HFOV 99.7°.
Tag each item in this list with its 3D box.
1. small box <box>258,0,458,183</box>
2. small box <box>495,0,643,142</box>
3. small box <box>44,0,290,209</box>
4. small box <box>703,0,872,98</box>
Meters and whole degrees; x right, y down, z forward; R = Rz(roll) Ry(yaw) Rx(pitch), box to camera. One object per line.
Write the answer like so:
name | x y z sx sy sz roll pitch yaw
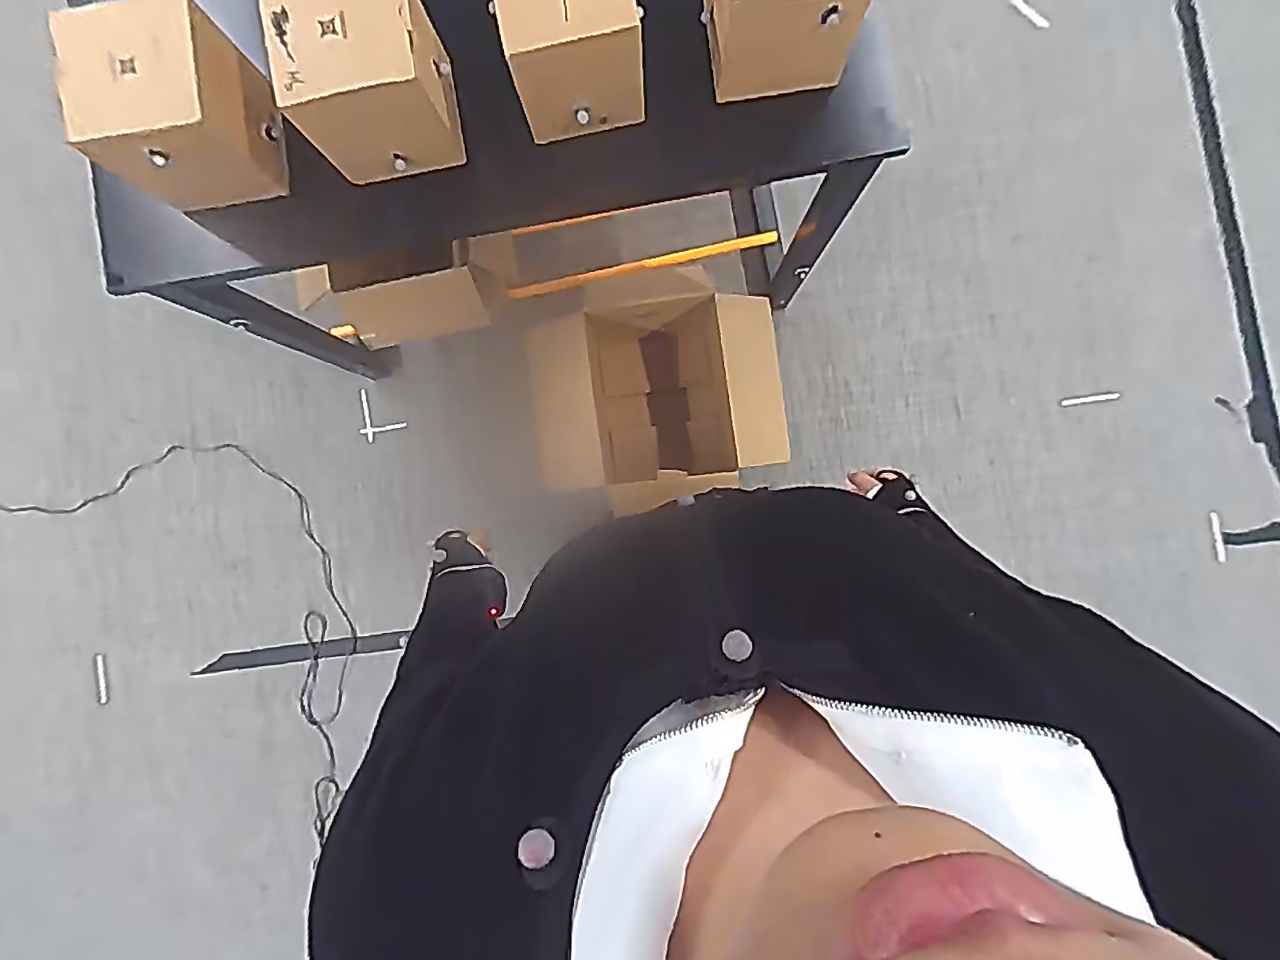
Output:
small box | -0.357 -0.530 0.717 0.179 0.176 0.168 -11 88 1
small box | -0.092 -0.592 0.710 0.168 0.176 0.179 -11 89 2
small box | -0.617 -0.490 0.726 0.179 0.176 0.168 -9 89 1
small box | 0.183 -0.639 0.699 0.179 0.176 0.168 -7 87 2
